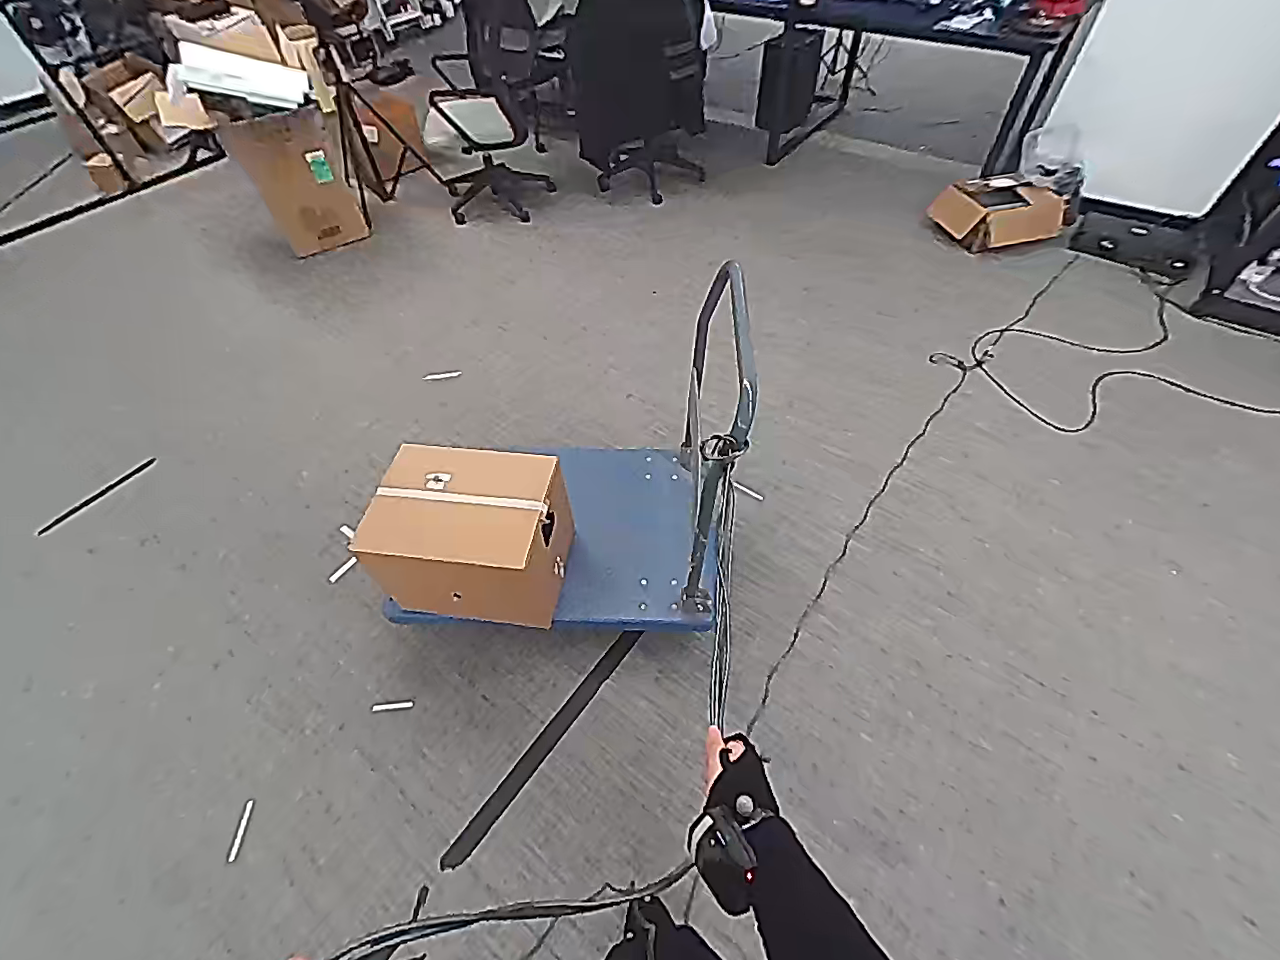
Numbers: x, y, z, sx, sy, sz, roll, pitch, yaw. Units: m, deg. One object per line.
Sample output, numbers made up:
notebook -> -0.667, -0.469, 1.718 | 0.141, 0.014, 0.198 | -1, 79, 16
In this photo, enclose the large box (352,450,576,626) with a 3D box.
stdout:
large box -> -0.398, 0.148, 1.348 | 0.408, 0.320, 0.320 | 5, 51, 7
